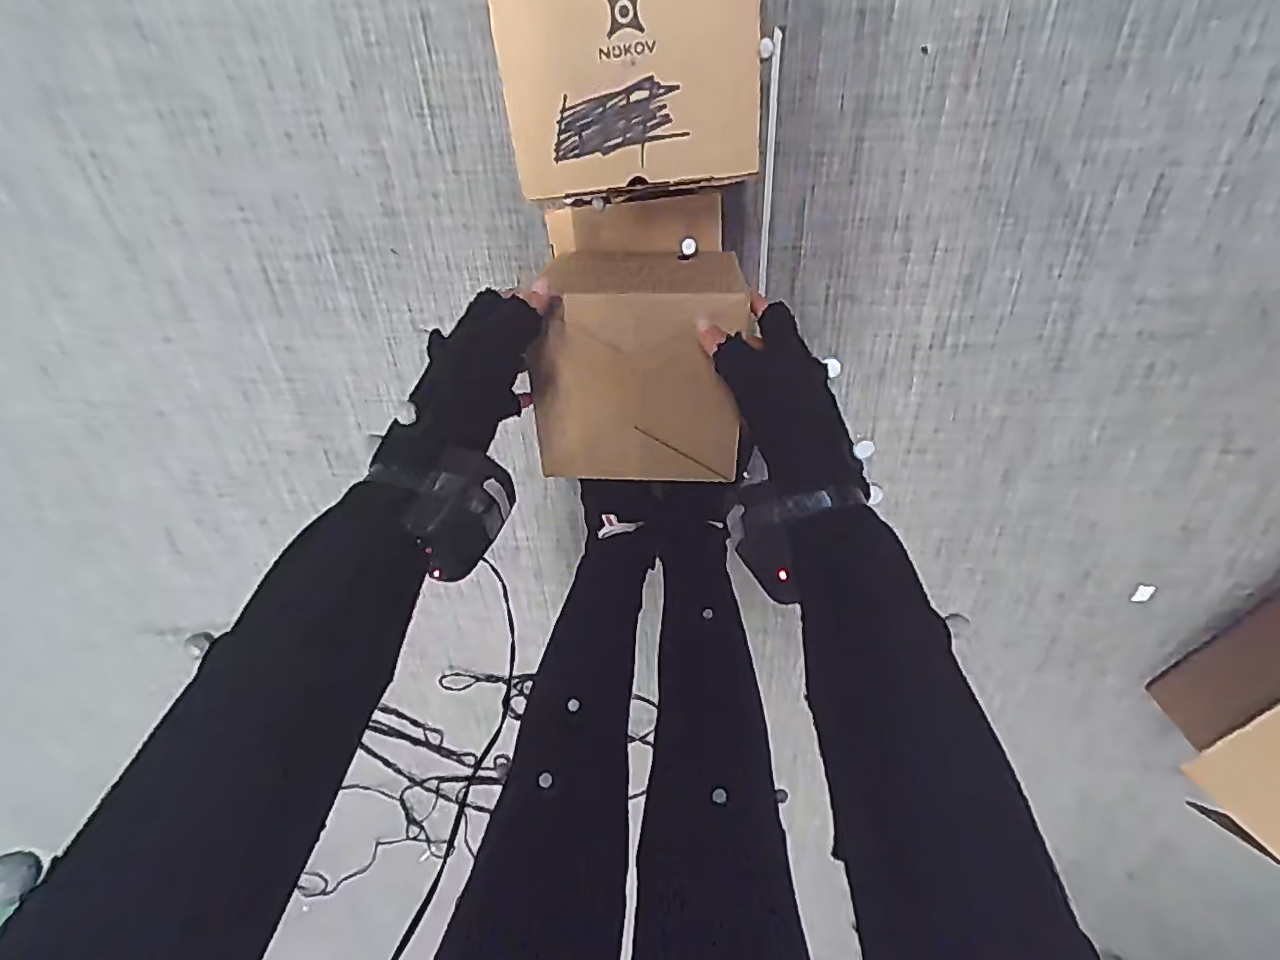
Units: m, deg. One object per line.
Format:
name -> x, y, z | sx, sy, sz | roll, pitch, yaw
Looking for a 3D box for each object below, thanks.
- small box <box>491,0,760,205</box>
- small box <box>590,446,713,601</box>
small box -> -0.001, -0.312, 0.402 | 0.168, 0.176, 0.179 | -2, 117, 6
small box -> 0.008, 0.067, 0.839 | 0.168, 0.176, 0.179 | 1, 123, -6
